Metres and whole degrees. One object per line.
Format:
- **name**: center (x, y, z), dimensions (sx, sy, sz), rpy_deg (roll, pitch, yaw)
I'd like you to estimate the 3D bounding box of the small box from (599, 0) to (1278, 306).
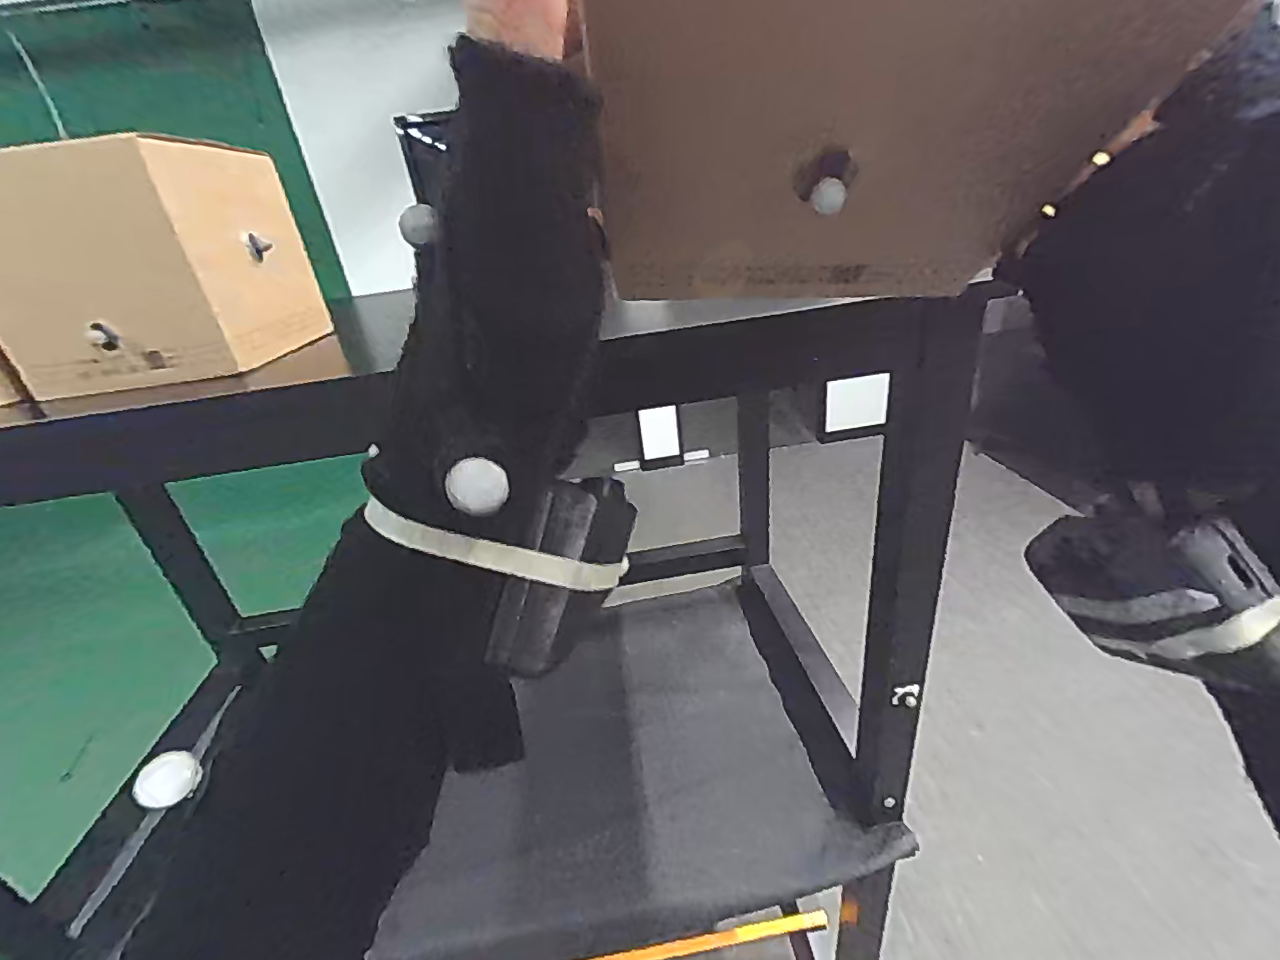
- **small box**: center (0.075, -0.179, 0.196), dimensions (0.168, 0.179, 0.176), rpy_deg (0, -11, 1)
